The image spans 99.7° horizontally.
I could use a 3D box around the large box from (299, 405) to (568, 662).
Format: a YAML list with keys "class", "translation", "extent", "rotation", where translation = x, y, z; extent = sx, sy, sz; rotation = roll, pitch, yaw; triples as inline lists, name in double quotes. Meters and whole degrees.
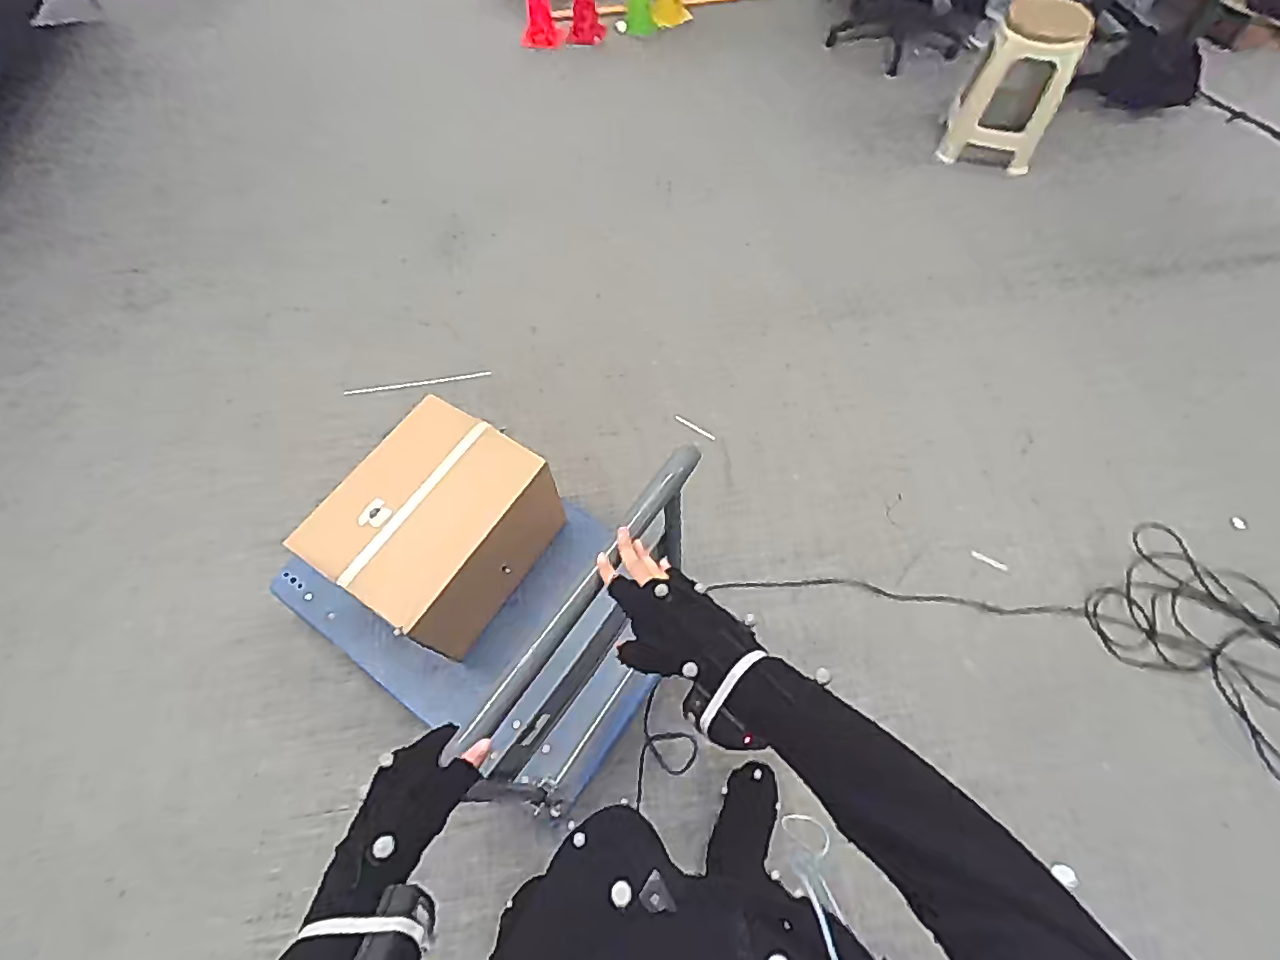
- class: "large box"
  translation: [-0.408, 0.123, 1.179]
  extent: [0.320, 0.320, 0.408]
  rotation: [29, 68, 16]
